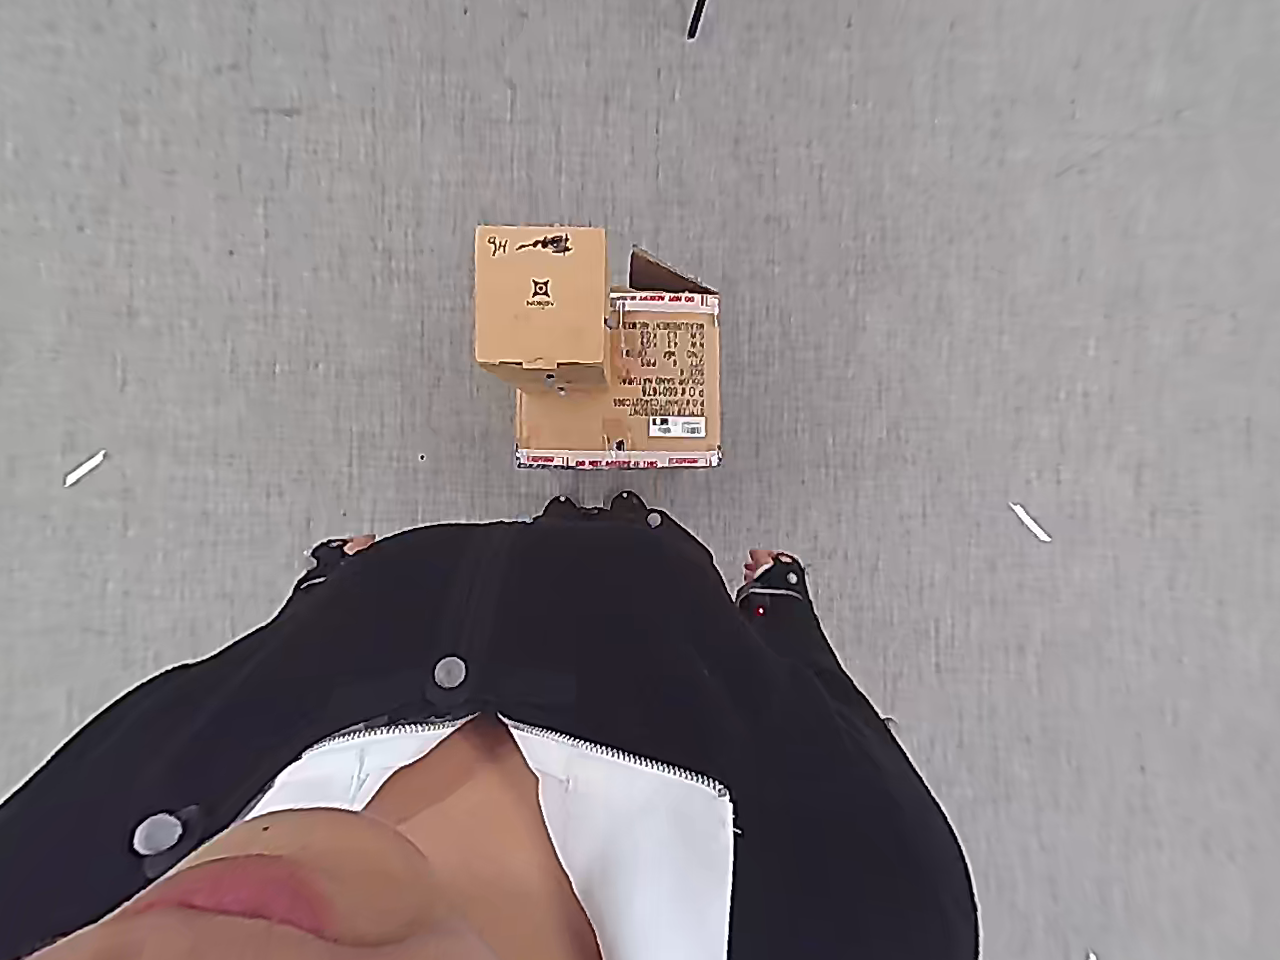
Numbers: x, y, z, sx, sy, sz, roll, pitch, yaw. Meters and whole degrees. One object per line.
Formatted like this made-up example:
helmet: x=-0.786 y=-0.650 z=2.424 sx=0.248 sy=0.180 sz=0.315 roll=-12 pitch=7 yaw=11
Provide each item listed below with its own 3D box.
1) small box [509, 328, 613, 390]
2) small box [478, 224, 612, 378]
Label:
small box: x=-0.134 y=-0.255 z=0.932 sx=0.168 sy=0.176 sz=0.179 roll=-1 pitch=92 yaw=0
small box: x=-0.125 y=-0.241 z=0.768 sx=0.168 sy=0.176 sz=0.179 roll=0 pitch=93 yaw=-1
